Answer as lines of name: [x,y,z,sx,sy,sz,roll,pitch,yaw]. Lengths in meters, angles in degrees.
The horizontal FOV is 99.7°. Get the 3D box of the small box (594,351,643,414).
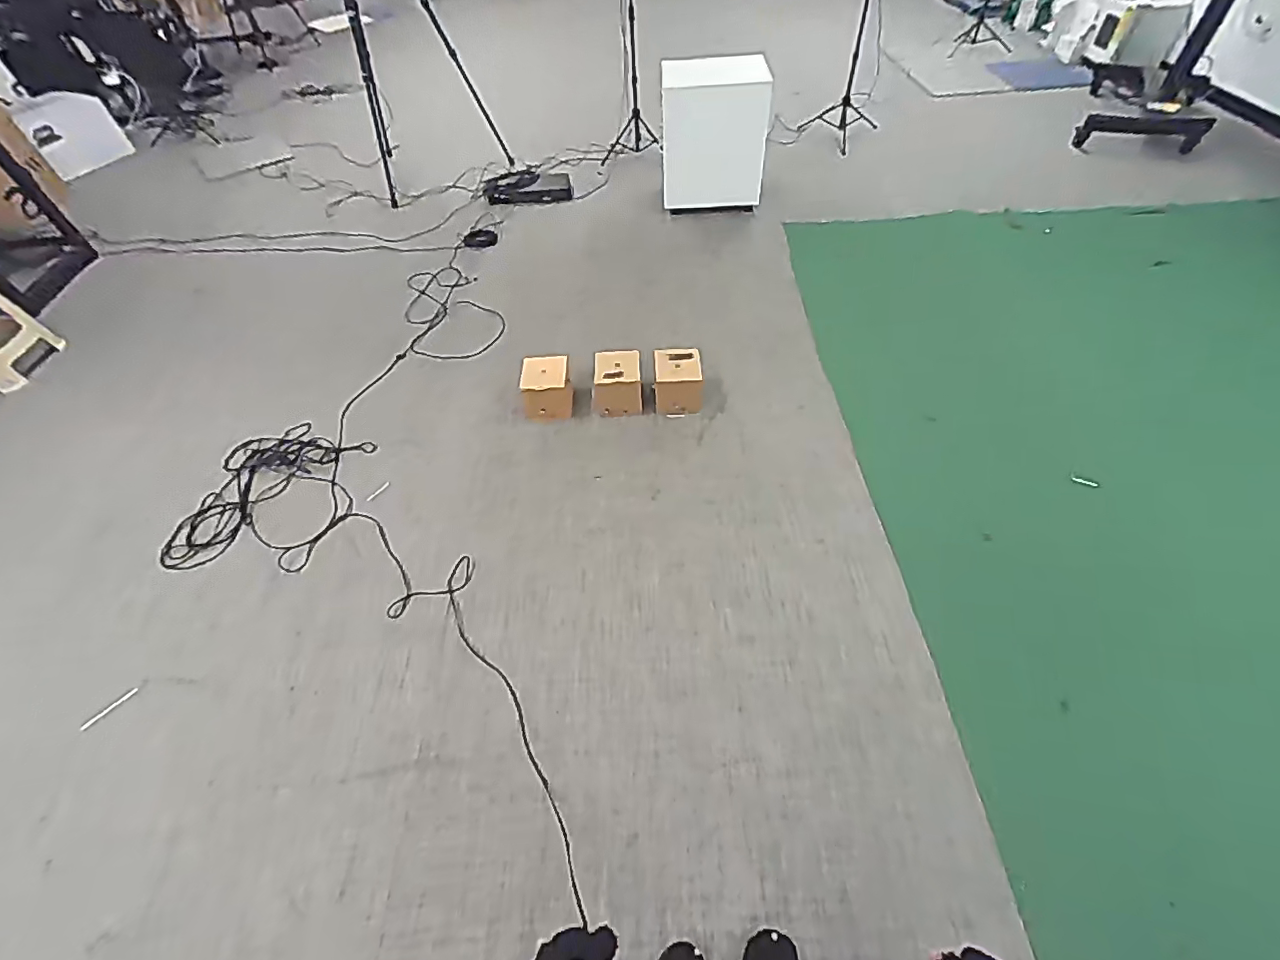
small box: [-0.078,-0.365,2.049,0.168,0.176,0.179,-4,51,2]

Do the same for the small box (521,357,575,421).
small box: [-0.344,-0.346,2.056,0.168,0.176,0.179,-3,52,2]
